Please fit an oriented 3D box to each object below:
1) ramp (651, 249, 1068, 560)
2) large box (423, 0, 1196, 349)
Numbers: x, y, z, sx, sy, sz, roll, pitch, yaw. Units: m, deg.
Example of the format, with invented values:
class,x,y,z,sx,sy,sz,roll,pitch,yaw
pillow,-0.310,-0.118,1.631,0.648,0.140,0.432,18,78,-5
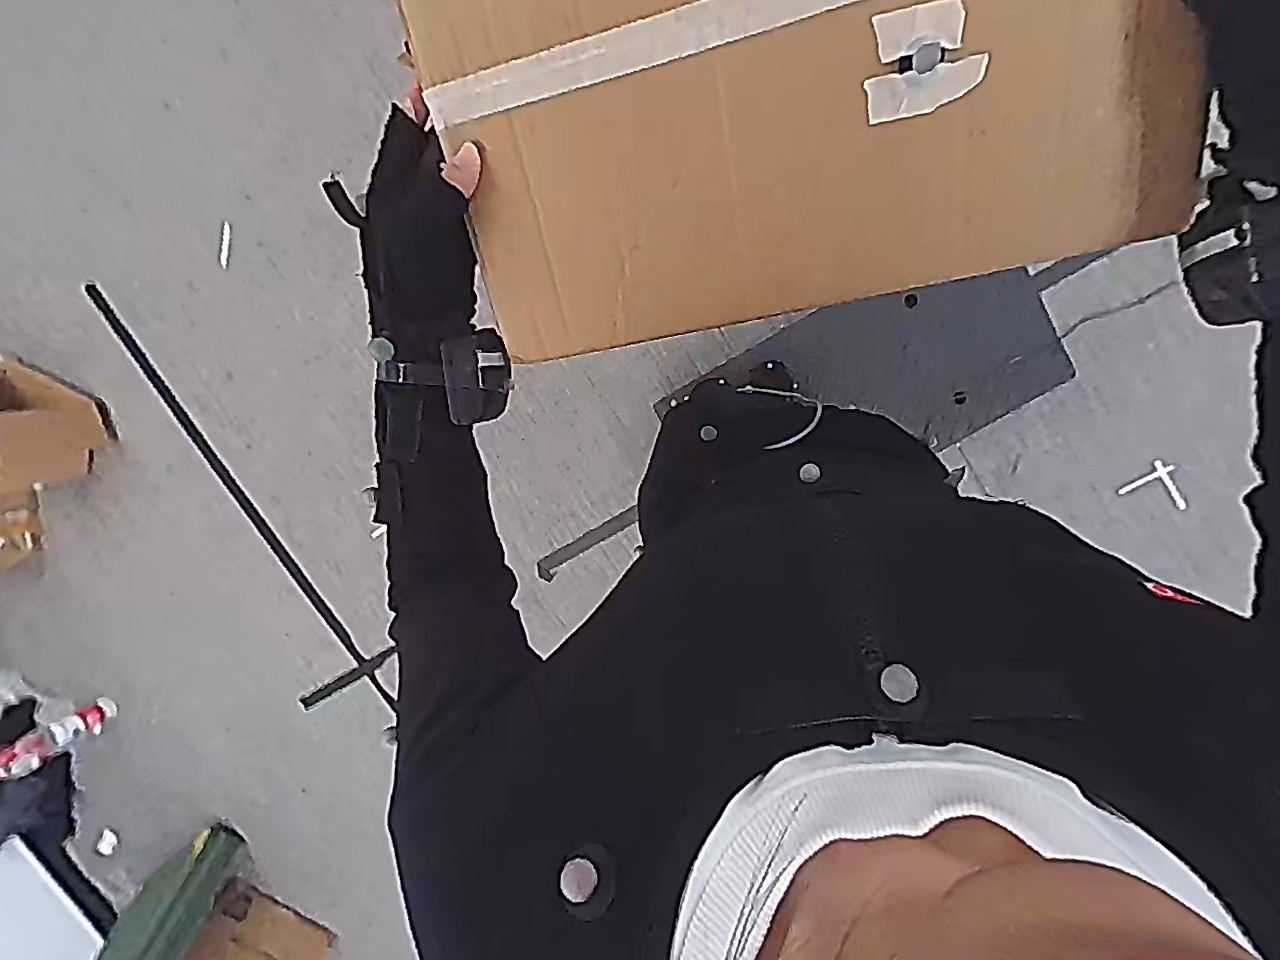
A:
class,x,y,z,sx,sy,sz,roll,pitch,yaw
ramp,0.573,-0.236,1.423,0.991,0.206,0.509,-31,94,13
large box,0.093,-0.319,0.427,0.408,0.320,0.320,-9,113,11
